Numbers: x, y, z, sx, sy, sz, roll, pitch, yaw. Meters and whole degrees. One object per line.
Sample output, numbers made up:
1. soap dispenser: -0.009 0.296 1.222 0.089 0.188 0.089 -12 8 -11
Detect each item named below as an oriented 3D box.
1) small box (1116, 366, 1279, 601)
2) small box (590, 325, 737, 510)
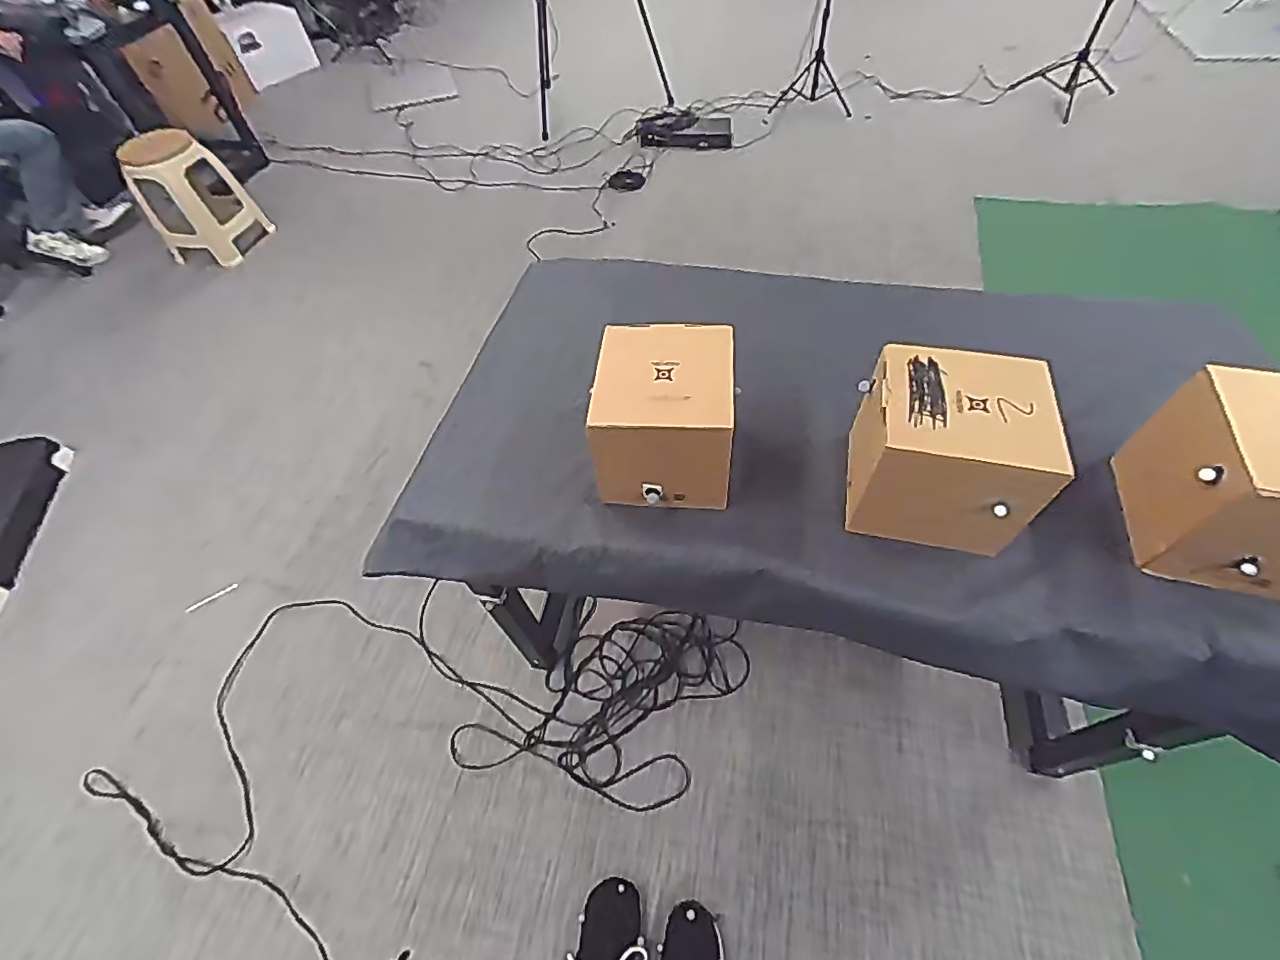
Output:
1. small box: 0.672 0.005 0.590 0.168 0.176 0.179 11 56 13
2. small box: 0.037 -0.081 0.707 0.168 0.176 0.179 1 55 7
